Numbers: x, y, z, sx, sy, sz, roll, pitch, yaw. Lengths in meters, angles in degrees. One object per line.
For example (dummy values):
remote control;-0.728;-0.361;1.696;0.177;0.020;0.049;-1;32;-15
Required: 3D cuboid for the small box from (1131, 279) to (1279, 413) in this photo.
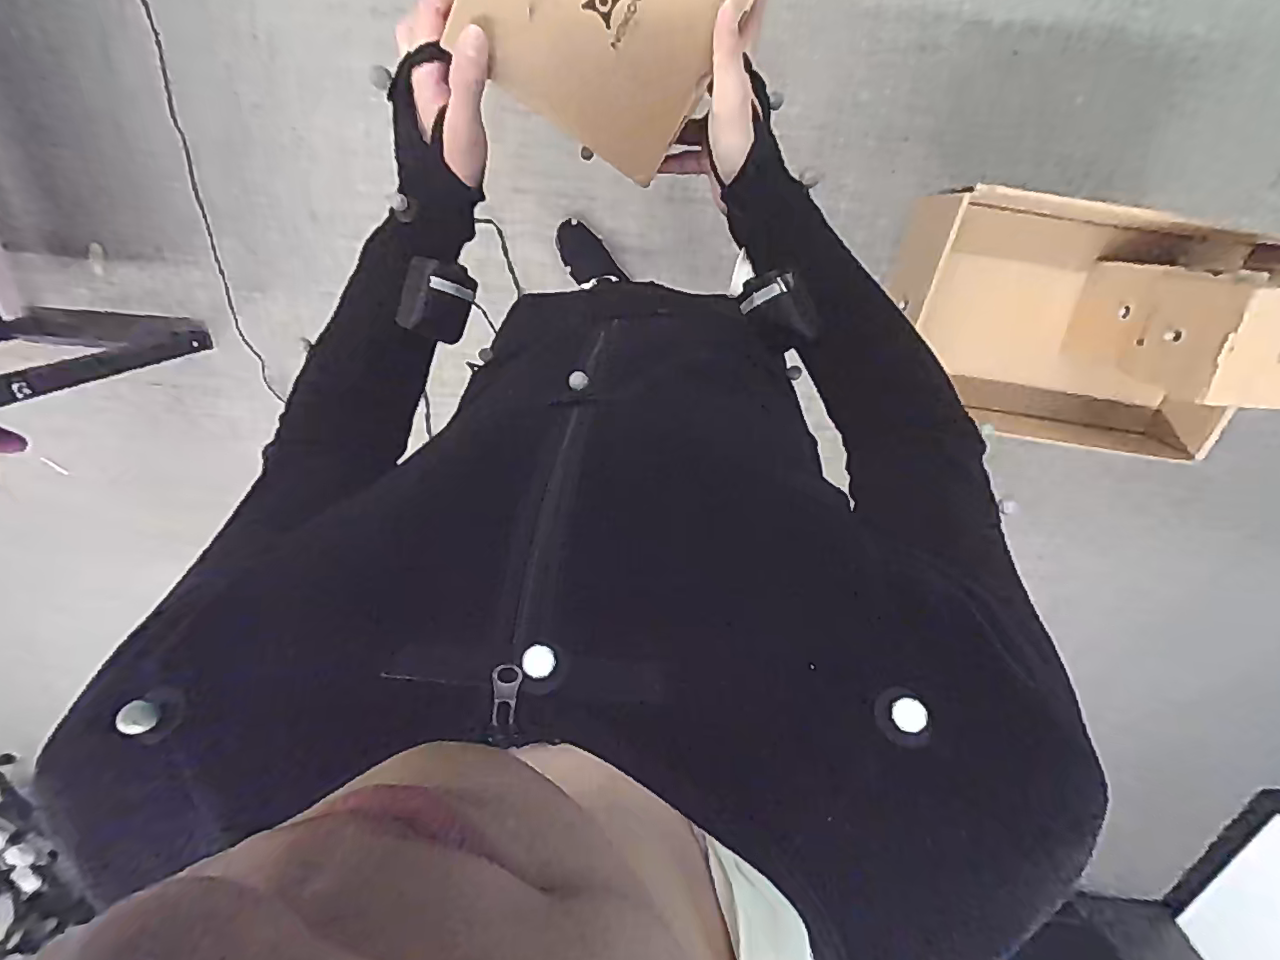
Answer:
small box;0.912;-0.206;0.815;0.179;0.176;0.168;5;117;3
